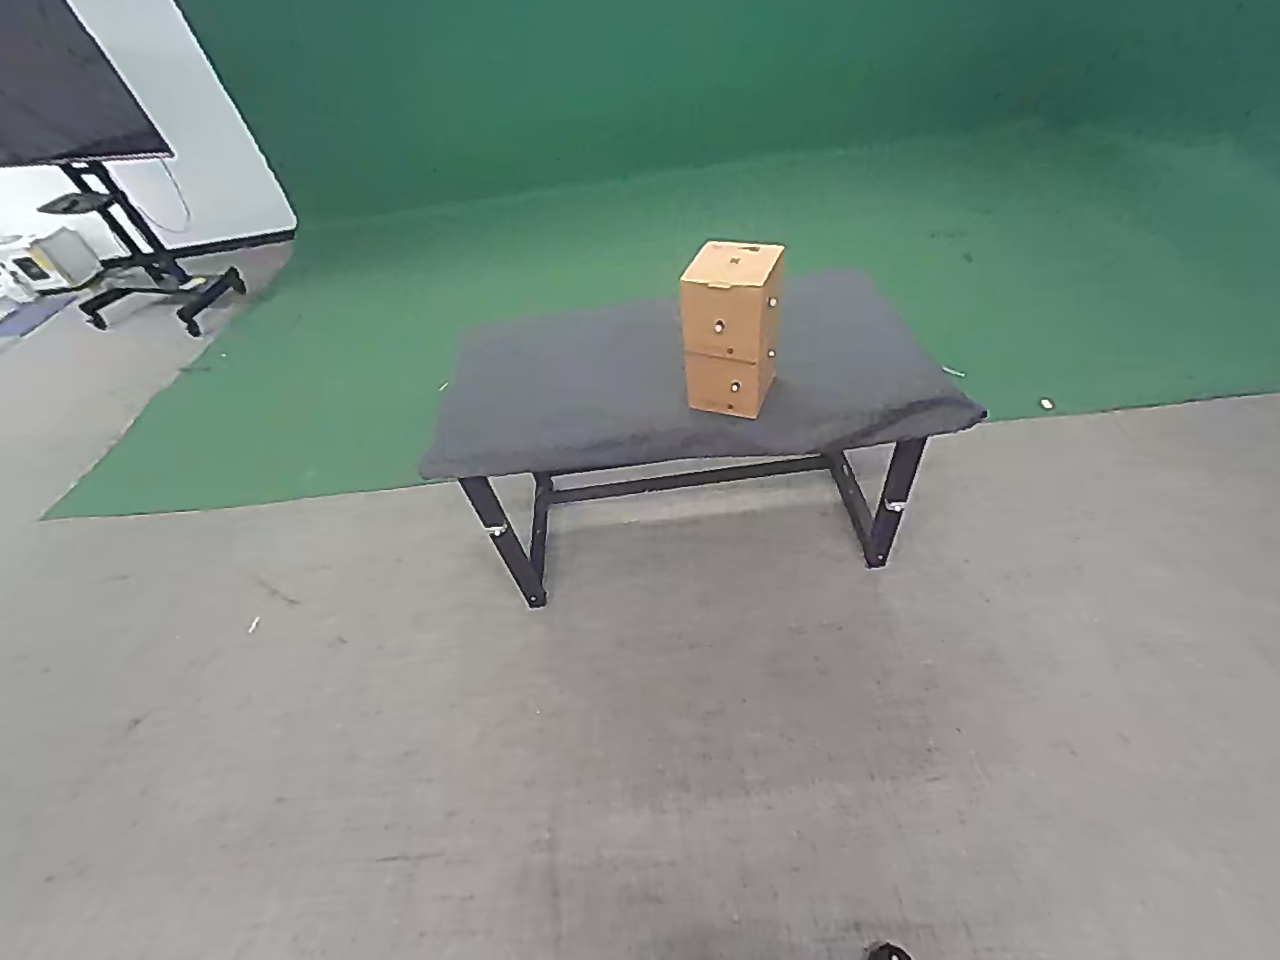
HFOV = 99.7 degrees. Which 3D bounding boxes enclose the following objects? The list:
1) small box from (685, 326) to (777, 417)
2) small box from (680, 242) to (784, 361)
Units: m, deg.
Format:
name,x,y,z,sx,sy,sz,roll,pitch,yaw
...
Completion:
name,x,y,z,sx,sy,sz,roll,pitch,yaw
small box,0.216,-0.269,1.258,0.168,0.176,0.179,14,50,20
small box,0.196,-0.372,1.130,0.168,0.176,0.179,14,52,21
